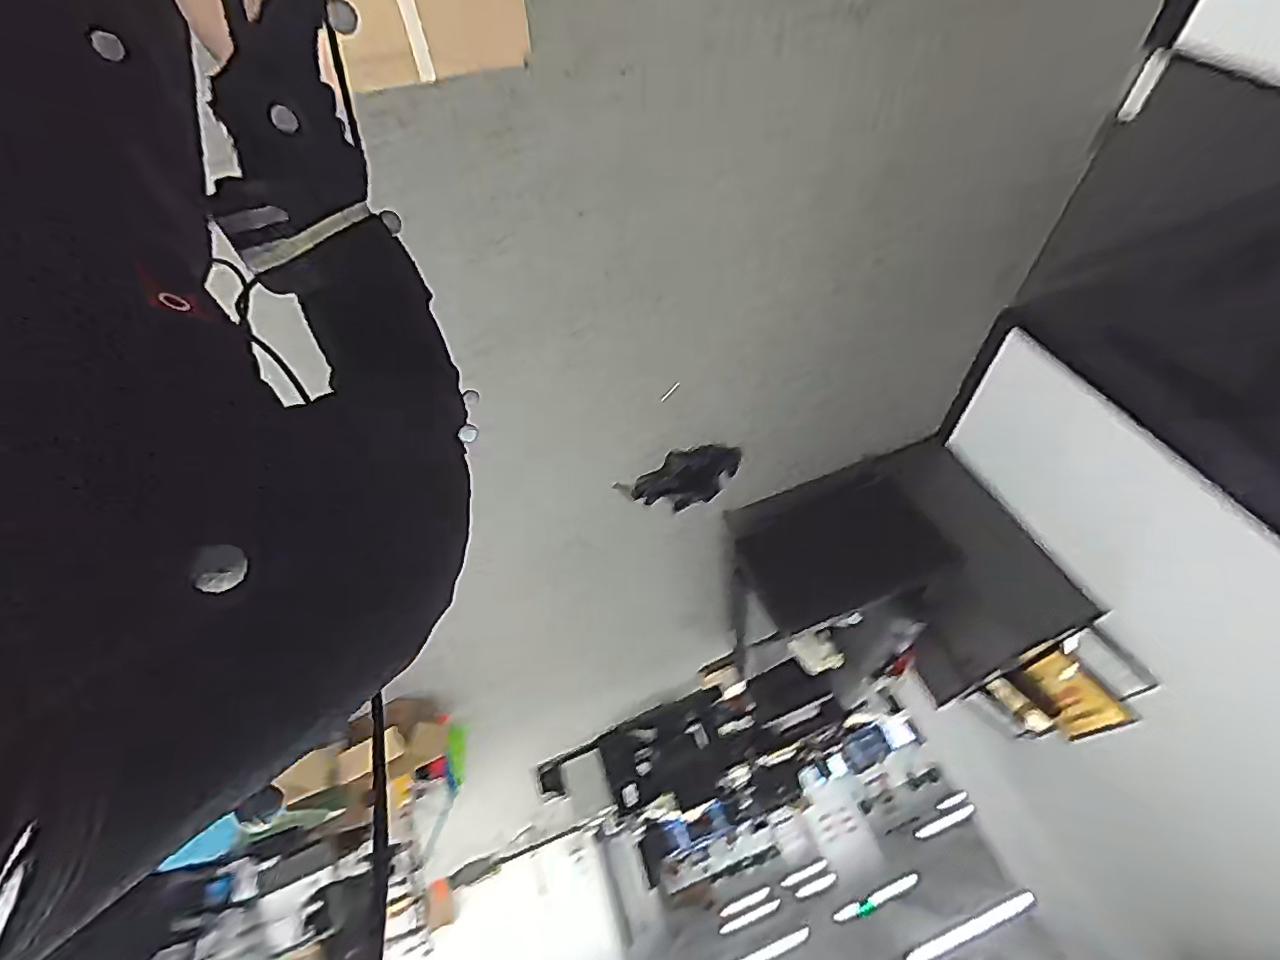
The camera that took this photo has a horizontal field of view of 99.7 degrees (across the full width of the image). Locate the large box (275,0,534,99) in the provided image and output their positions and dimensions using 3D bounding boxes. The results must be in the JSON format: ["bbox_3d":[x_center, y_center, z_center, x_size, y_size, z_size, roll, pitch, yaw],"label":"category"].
[{"bbox_3d":[-0.359,-0.798,0.693,0.320,0.320,0.408,-17,147,-11],"label":"large box"}]
